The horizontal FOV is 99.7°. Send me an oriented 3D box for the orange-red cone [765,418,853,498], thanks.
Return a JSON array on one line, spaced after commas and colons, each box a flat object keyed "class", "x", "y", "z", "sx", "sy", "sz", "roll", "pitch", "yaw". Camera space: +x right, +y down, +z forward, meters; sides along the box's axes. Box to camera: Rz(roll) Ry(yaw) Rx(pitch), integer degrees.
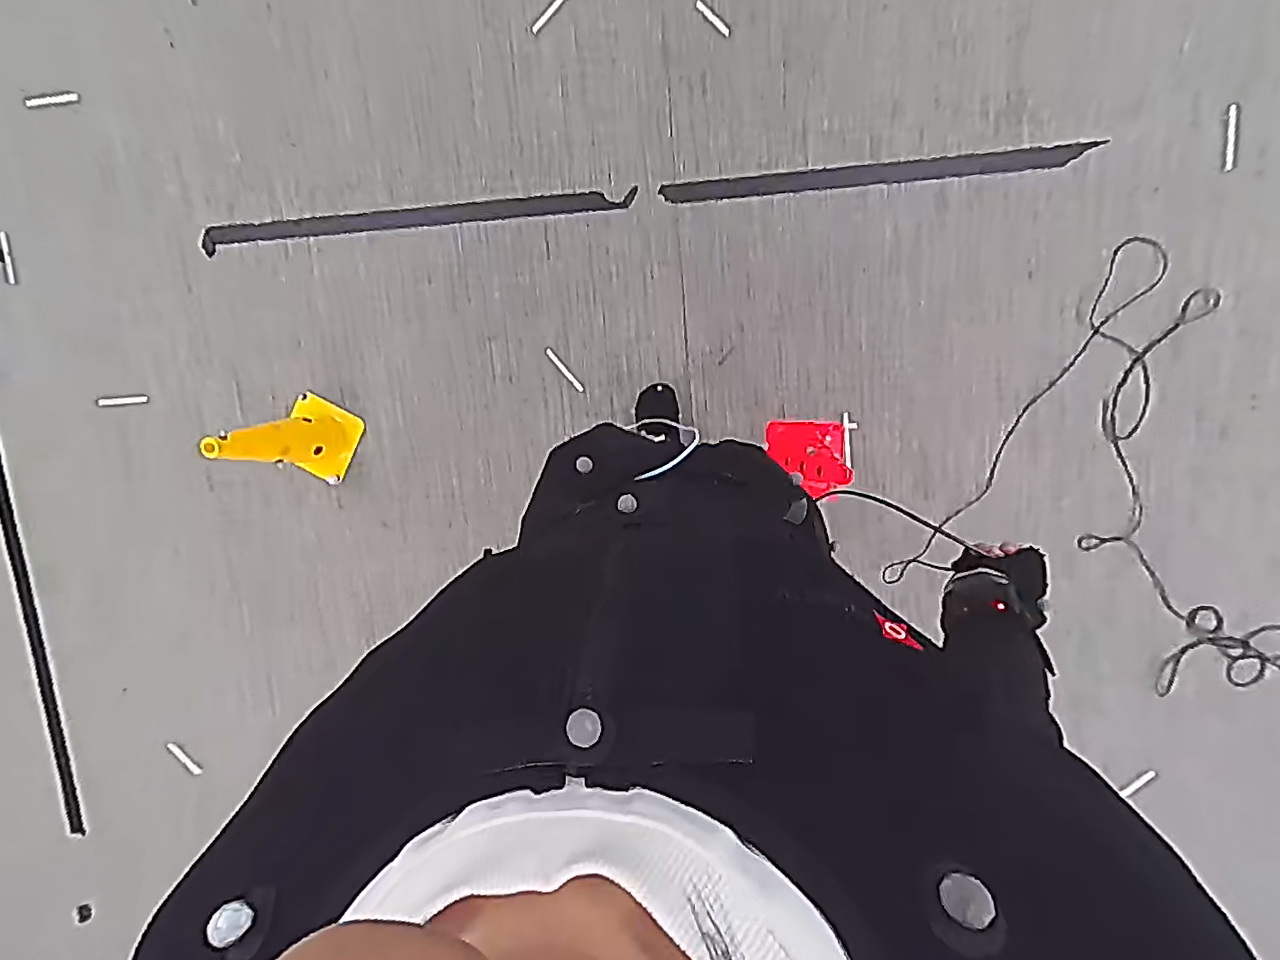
[{"class": "orange-red cone", "x": 0.407, "y": -0.036, "z": 1.212, "sx": 0.199, "sy": 0.360, "sz": 0.198, "roll": 4, "pitch": 97, "yaw": 6}]
